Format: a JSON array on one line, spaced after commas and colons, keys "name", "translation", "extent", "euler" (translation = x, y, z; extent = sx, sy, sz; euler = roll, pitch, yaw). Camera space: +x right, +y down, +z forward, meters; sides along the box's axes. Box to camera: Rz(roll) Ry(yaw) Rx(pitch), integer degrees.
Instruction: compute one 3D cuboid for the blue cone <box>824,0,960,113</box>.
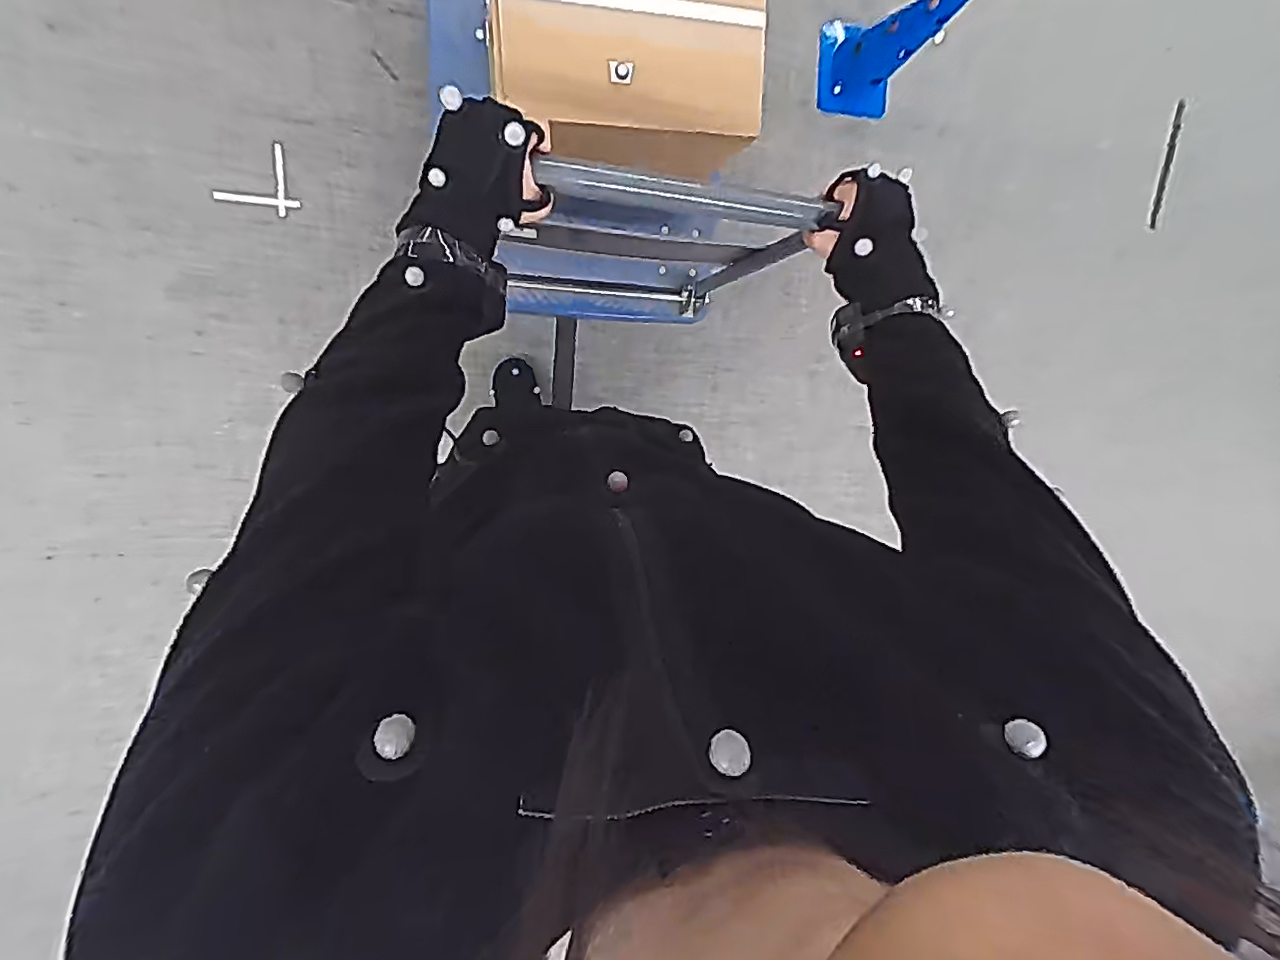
[{"name": "blue cone", "translation": [0.592, -1.004, 1.209], "extent": [0.193, 0.380, 0.192], "euler": [-3, 103, -15]}]
